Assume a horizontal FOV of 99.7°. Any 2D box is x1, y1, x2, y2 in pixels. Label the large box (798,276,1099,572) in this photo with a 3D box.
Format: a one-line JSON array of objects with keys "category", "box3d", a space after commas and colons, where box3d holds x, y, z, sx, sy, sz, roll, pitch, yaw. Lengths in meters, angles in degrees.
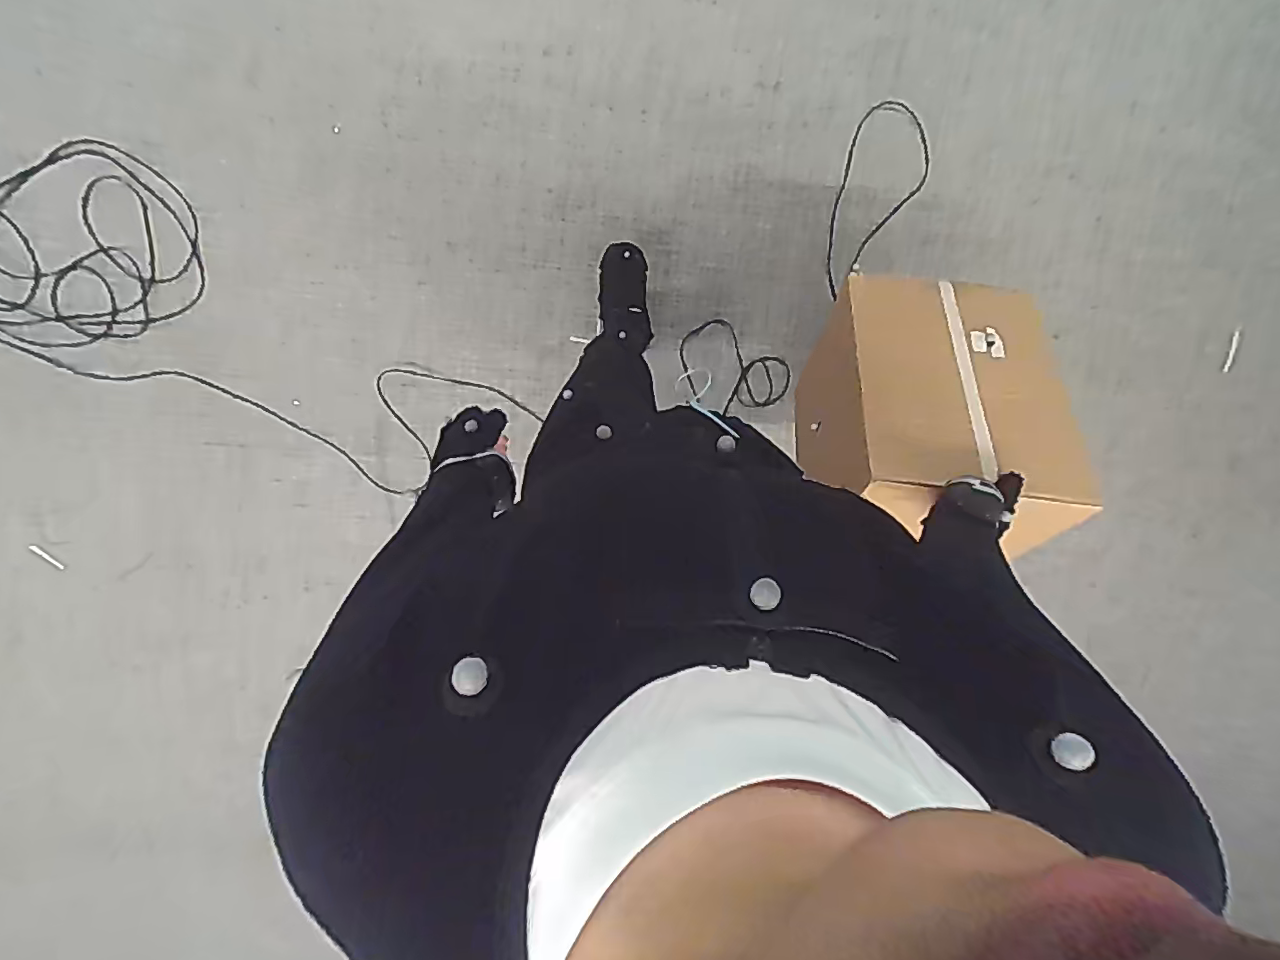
[{"category": "large box", "box3d": [0.477, -0.086, 0.947, 0.320, 0.320, 0.408, 7, 61, 0]}]
